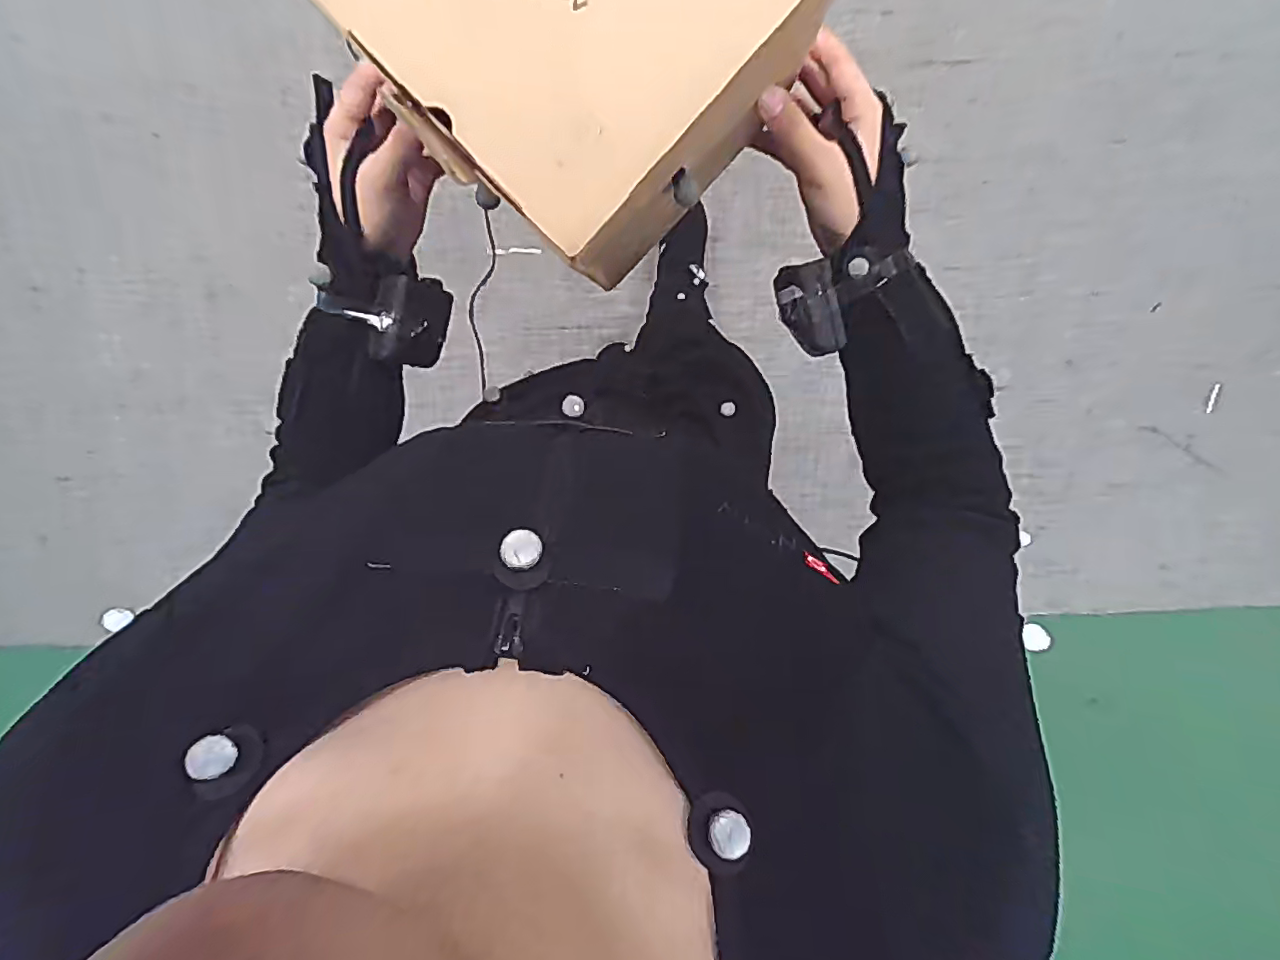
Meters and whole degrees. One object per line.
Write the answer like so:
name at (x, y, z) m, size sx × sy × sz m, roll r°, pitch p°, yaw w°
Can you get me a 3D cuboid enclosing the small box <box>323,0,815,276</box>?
small box at (-0.022, -0.241, 0.307) m, size 0.168 × 0.176 × 0.179 m, roll 44°, pitch 103°, yaw -8°
